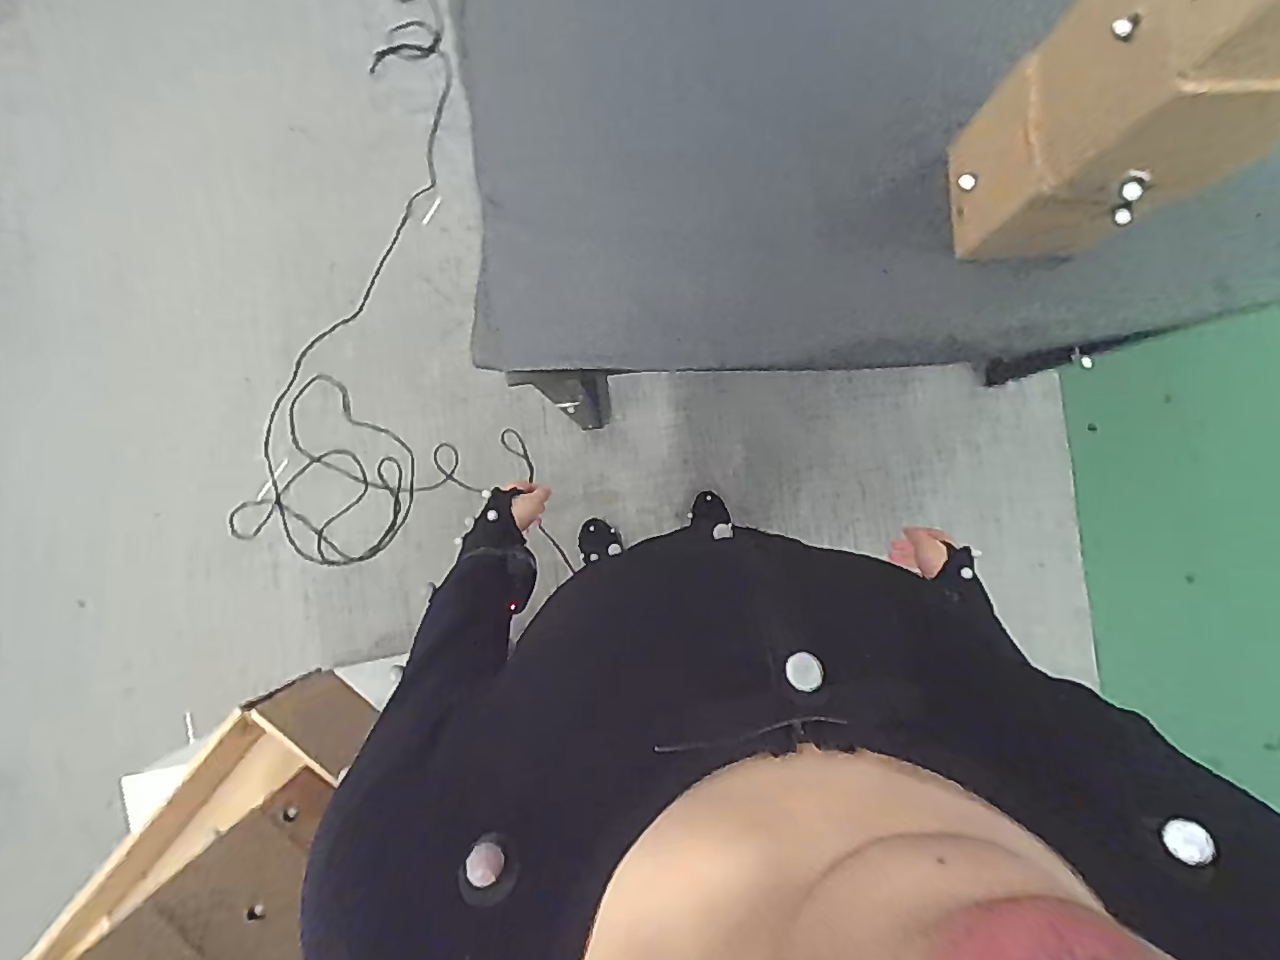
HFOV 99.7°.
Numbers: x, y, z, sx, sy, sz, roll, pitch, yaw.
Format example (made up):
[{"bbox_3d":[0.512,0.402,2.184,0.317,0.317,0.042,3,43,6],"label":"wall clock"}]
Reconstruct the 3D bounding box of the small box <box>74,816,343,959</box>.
[{"bbox_3d":[-0.494,0.529,0.616,0.179,0.176,0.168,42,92,0],"label":"small box"}]

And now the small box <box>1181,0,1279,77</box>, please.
[{"bbox_3d":[0.520,-0.407,0.359,0.179,0.176,0.168,2,88,3],"label":"small box"}]

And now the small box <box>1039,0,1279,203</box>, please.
[{"bbox_3d":[0.523,-0.398,0.523,0.168,0.176,0.179,0,89,3],"label":"small box"}]

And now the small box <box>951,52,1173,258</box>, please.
[{"bbox_3d":[0.529,-0.398,0.685,0.179,0.176,0.168,-2,87,2],"label":"small box"}]
